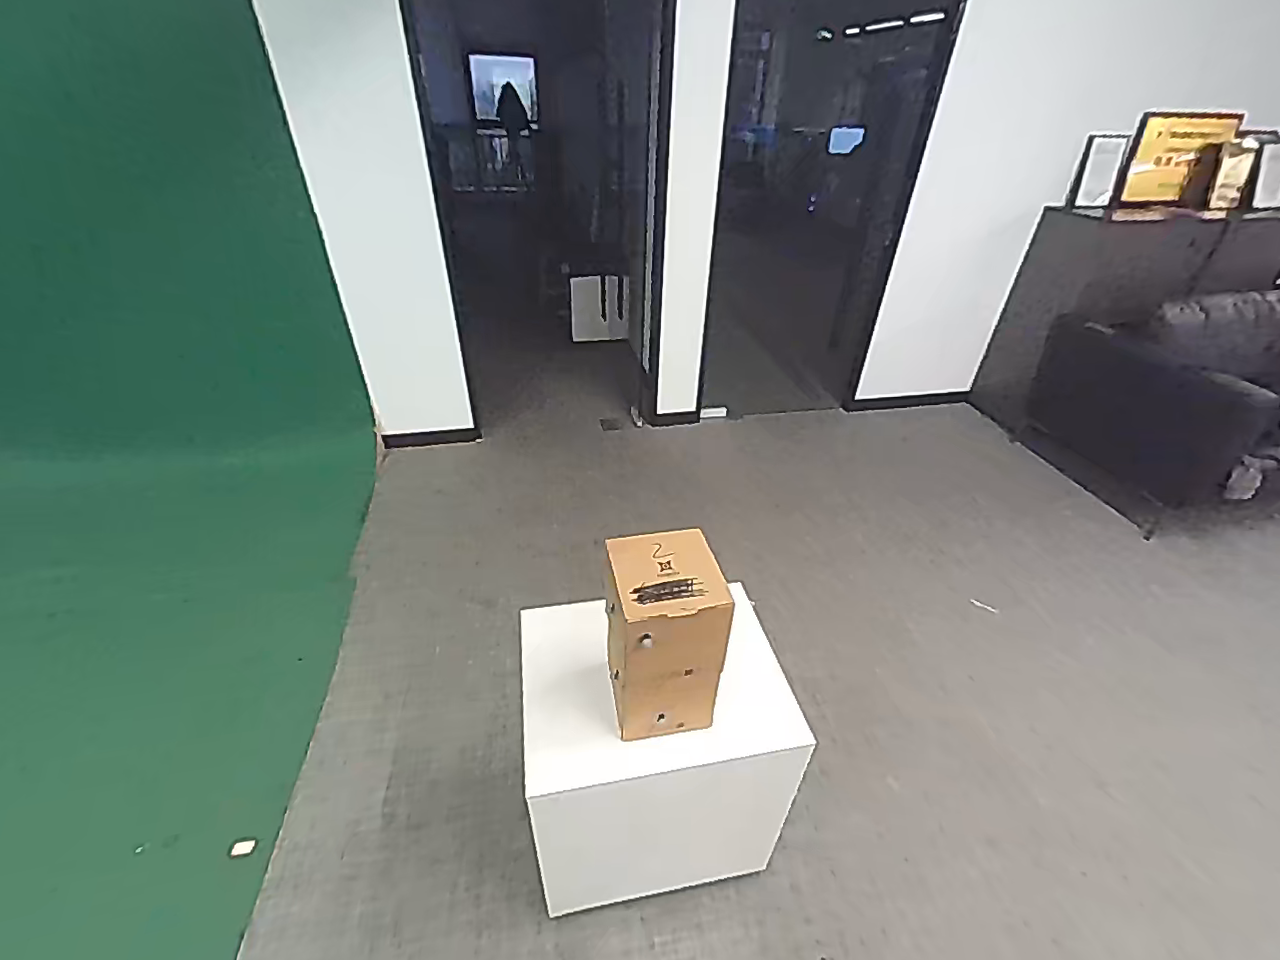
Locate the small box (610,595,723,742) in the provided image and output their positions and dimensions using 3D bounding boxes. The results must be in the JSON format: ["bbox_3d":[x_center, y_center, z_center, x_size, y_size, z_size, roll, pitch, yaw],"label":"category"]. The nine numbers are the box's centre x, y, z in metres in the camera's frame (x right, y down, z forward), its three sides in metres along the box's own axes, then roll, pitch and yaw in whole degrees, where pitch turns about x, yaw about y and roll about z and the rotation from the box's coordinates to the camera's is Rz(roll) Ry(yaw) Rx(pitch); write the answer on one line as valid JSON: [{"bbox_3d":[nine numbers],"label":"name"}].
[{"bbox_3d":[0.036,0.334,0.971,0.168,0.176,0.179,-5,35,-10],"label":"small box"}]
